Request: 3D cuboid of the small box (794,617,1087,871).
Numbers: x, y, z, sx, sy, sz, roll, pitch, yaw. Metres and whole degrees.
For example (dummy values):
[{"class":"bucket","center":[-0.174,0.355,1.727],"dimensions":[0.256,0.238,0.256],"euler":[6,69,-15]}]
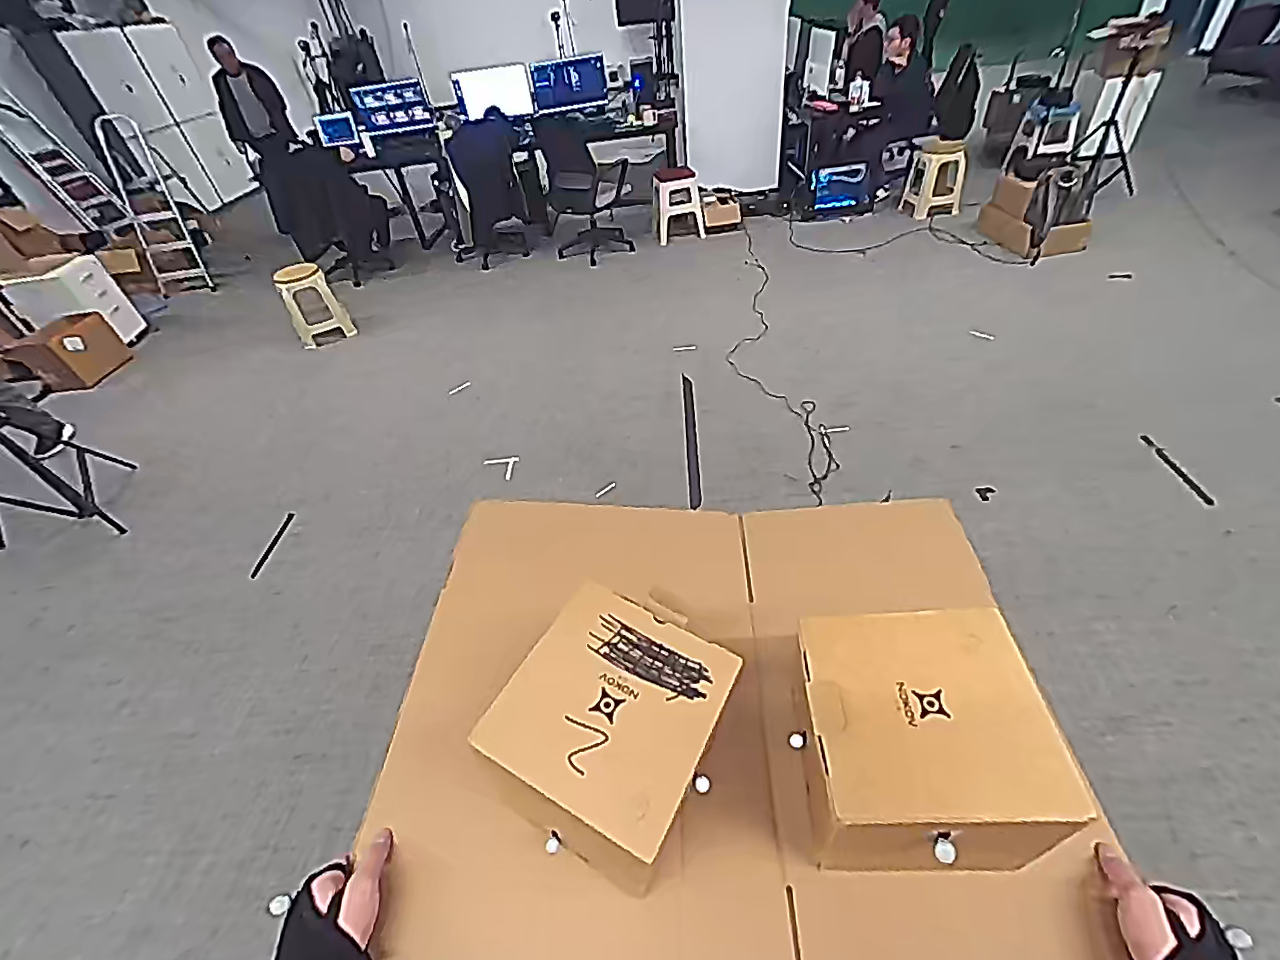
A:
[{"class":"small box","center":[0.246,0.246,0.501],"dimensions":[0.179,0.176,0.168],"euler":[-6,44,8]}]
